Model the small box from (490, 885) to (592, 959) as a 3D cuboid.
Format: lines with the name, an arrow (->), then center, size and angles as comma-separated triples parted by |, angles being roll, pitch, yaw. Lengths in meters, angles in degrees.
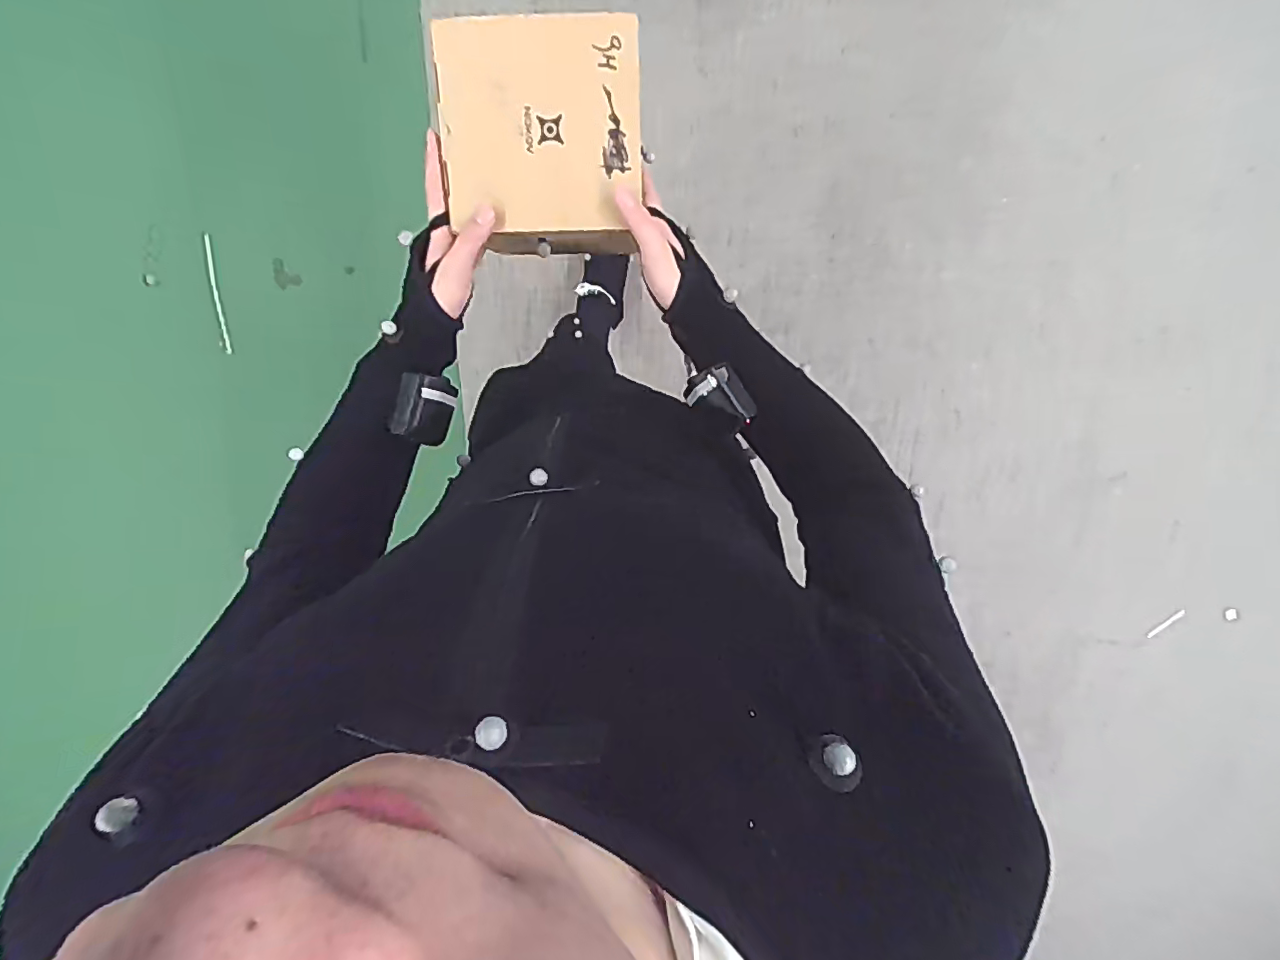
small box -> -0.191, 0.936, 1.059 | 0.179, 0.176, 0.168 | 3, 105, -2

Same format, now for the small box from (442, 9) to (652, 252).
small box -> -0.077, -0.327, 0.542 | 0.179, 0.176, 0.168 | 0, 106, 0
